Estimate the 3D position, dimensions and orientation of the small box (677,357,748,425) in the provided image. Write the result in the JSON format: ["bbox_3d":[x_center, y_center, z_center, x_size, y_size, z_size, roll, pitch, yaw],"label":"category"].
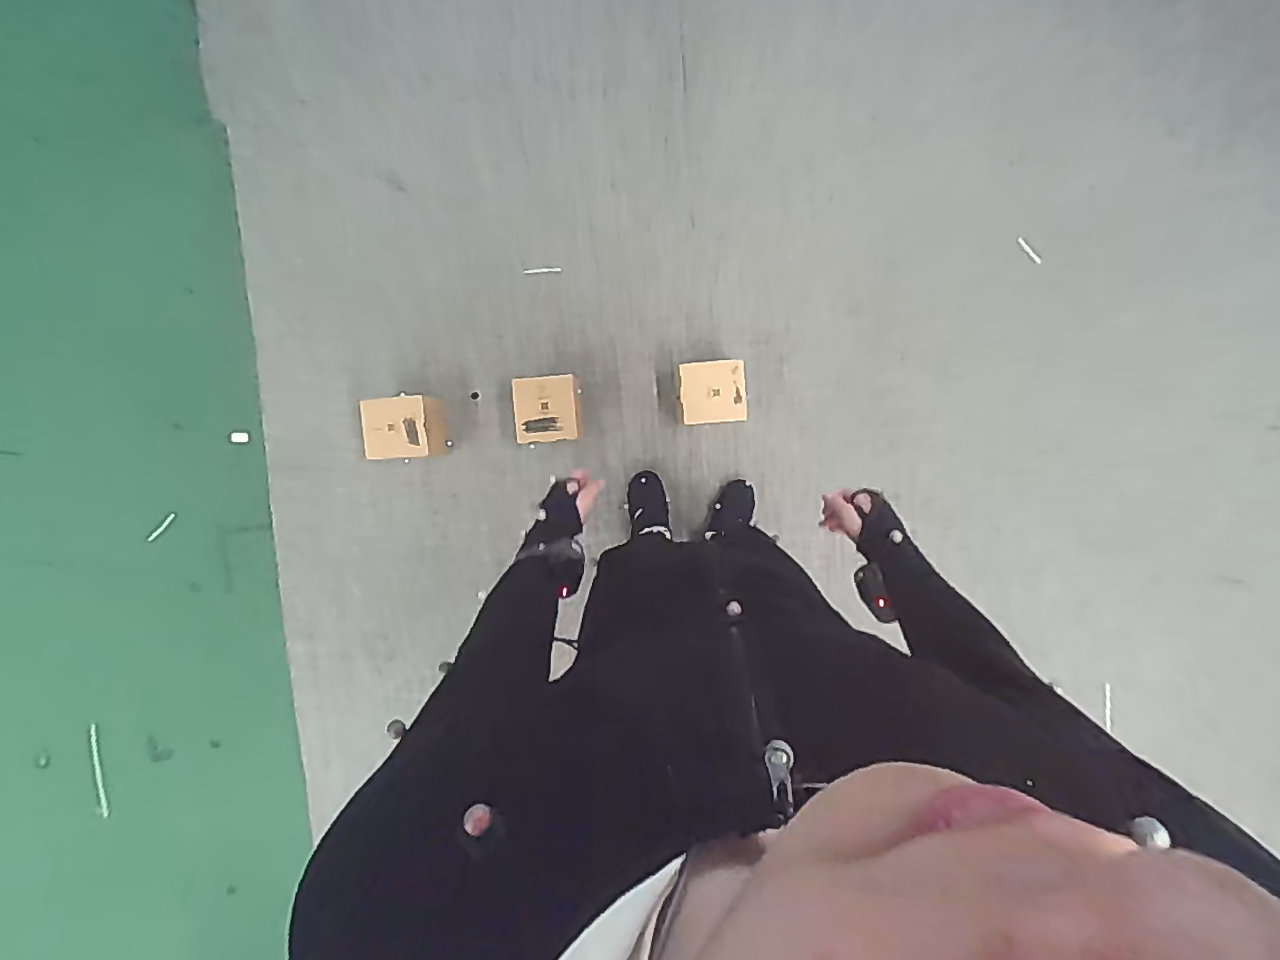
[{"bbox_3d":[0.195,-0.242,1.503,0.179,0.176,0.168,-4,94,1],"label":"small box"}]

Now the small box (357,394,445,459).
[{"bbox_3d":[-0.658,-0.148,1.512,0.179,0.176,0.168,-4,94,1],"label":"small box"}]
